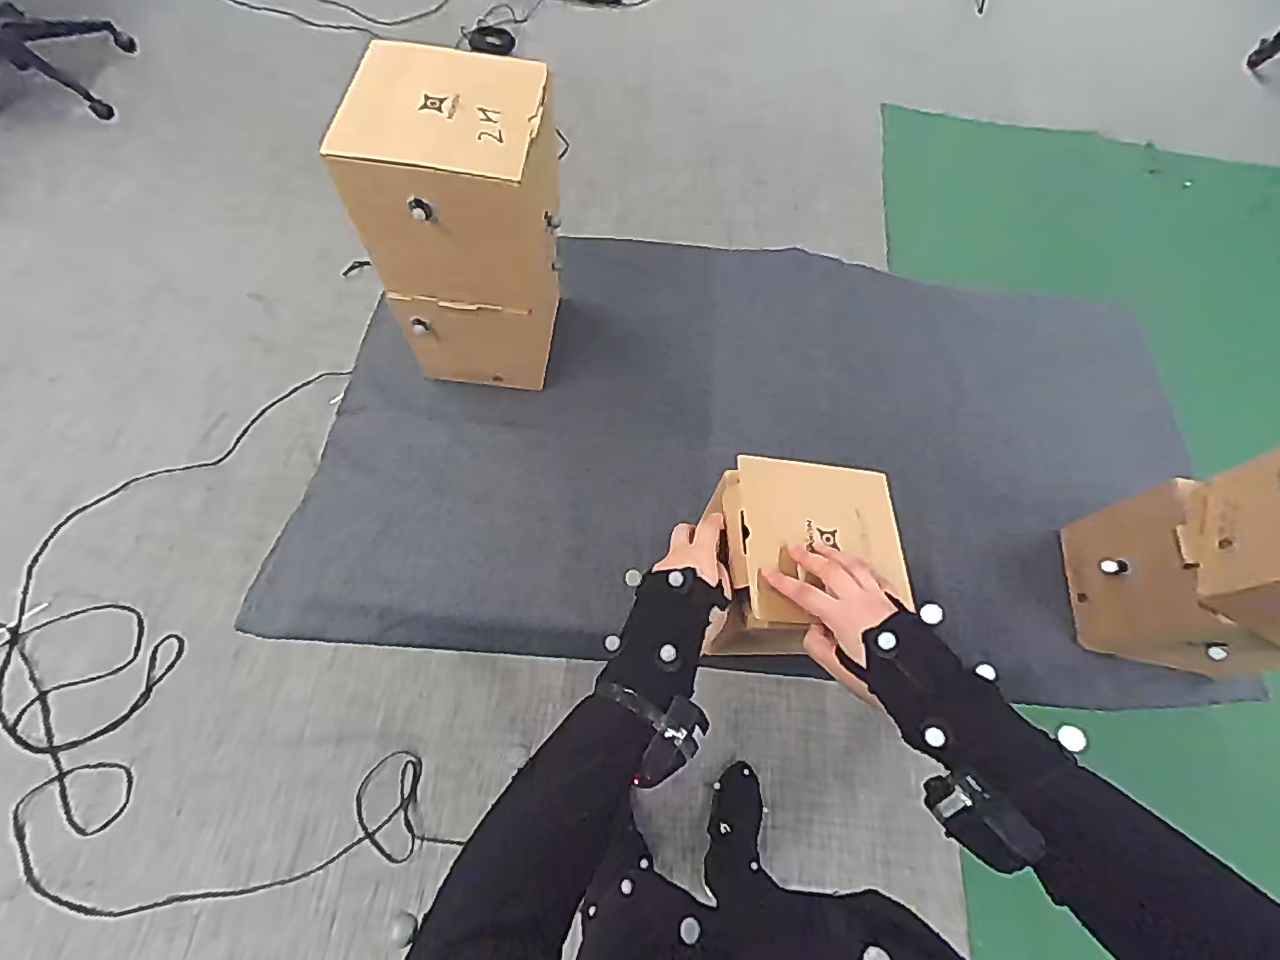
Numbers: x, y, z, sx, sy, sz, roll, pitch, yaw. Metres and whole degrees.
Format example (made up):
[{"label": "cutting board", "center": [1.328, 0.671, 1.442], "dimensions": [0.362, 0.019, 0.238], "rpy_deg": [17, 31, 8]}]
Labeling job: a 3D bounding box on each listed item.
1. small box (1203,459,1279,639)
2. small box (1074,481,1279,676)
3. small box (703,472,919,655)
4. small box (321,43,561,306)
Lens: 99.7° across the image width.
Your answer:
[{"label": "small box", "center": [0.668, 0.069, 0.477], "dimensions": [0.179, 0.176, 0.168], "rpy_deg": [31, 65, 9]}, {"label": "small box", "center": [0.653, 0.123, 0.631], "dimensions": [0.179, 0.176, 0.168], "rpy_deg": [12, 64, 1]}, {"label": "small box", "center": [0.169, 0.101, 0.605], "dimensions": [0.179, 0.176, 0.168], "rpy_deg": [1, 66, -5]}, {"label": "small box", "center": [-0.185, -0.306, 0.566], "dimensions": [0.179, 0.176, 0.168], "rpy_deg": [7, 68, -2]}]
